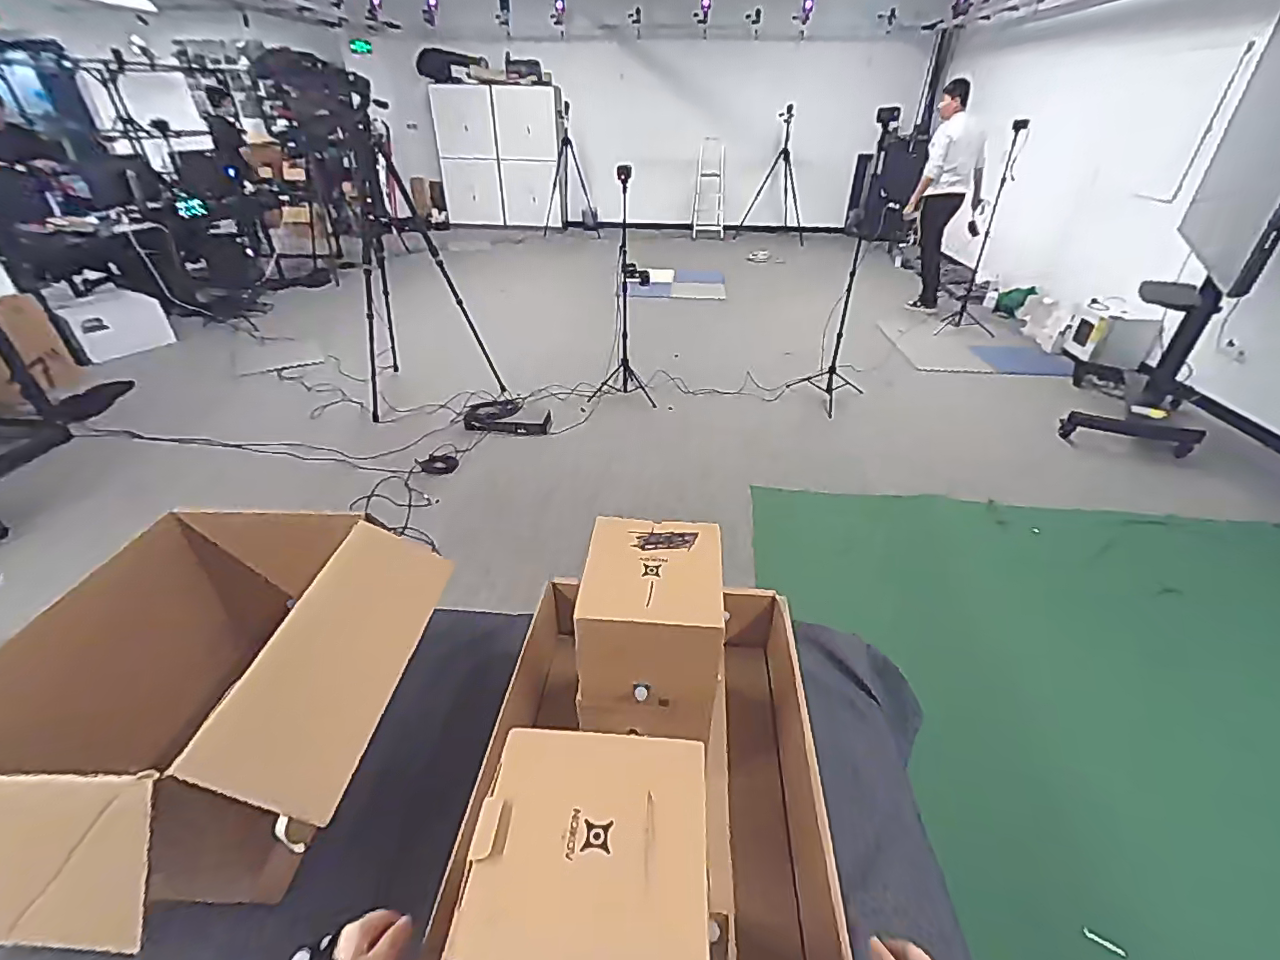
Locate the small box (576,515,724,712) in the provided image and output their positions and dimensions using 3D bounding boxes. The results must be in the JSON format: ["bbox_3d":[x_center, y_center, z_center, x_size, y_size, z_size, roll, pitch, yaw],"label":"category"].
[{"bbox_3d":[0.016,0.167,0.697,0.168,0.176,0.179,3,36,4],"label":"small box"}]

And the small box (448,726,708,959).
[{"bbox_3d":[-0.036,0.337,0.461,0.179,0.176,0.168,3,35,3],"label":"small box"}]
